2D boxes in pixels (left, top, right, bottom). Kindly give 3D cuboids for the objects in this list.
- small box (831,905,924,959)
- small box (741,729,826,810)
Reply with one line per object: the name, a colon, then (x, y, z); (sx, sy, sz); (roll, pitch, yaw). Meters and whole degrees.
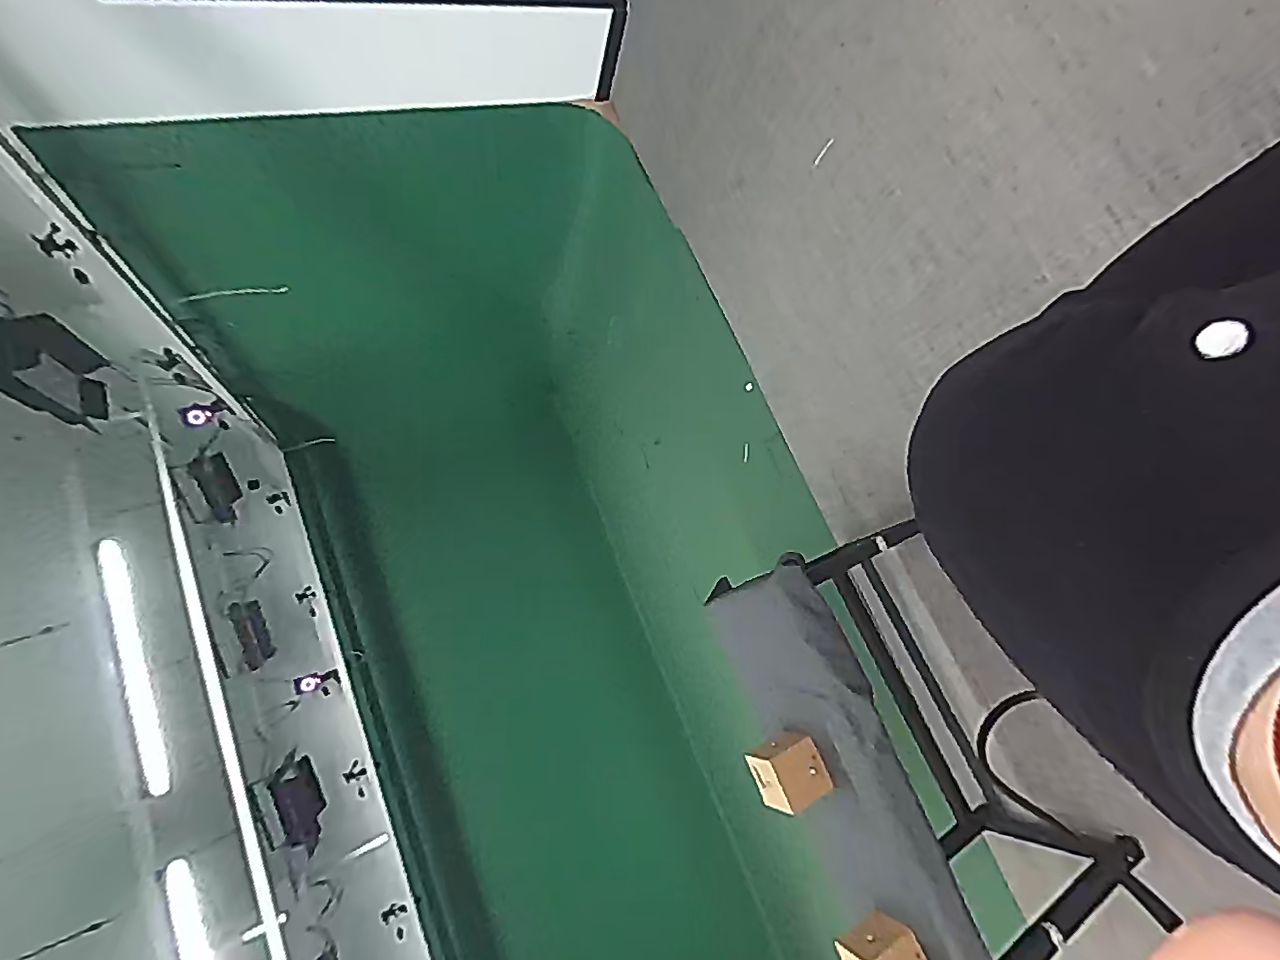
small box: (0.704, 1.389, 1.573); (0.168, 0.176, 0.179); (65, 156, 15)
small box: (0.462, 0.924, 1.744); (0.168, 0.176, 0.179); (65, 155, 12)
